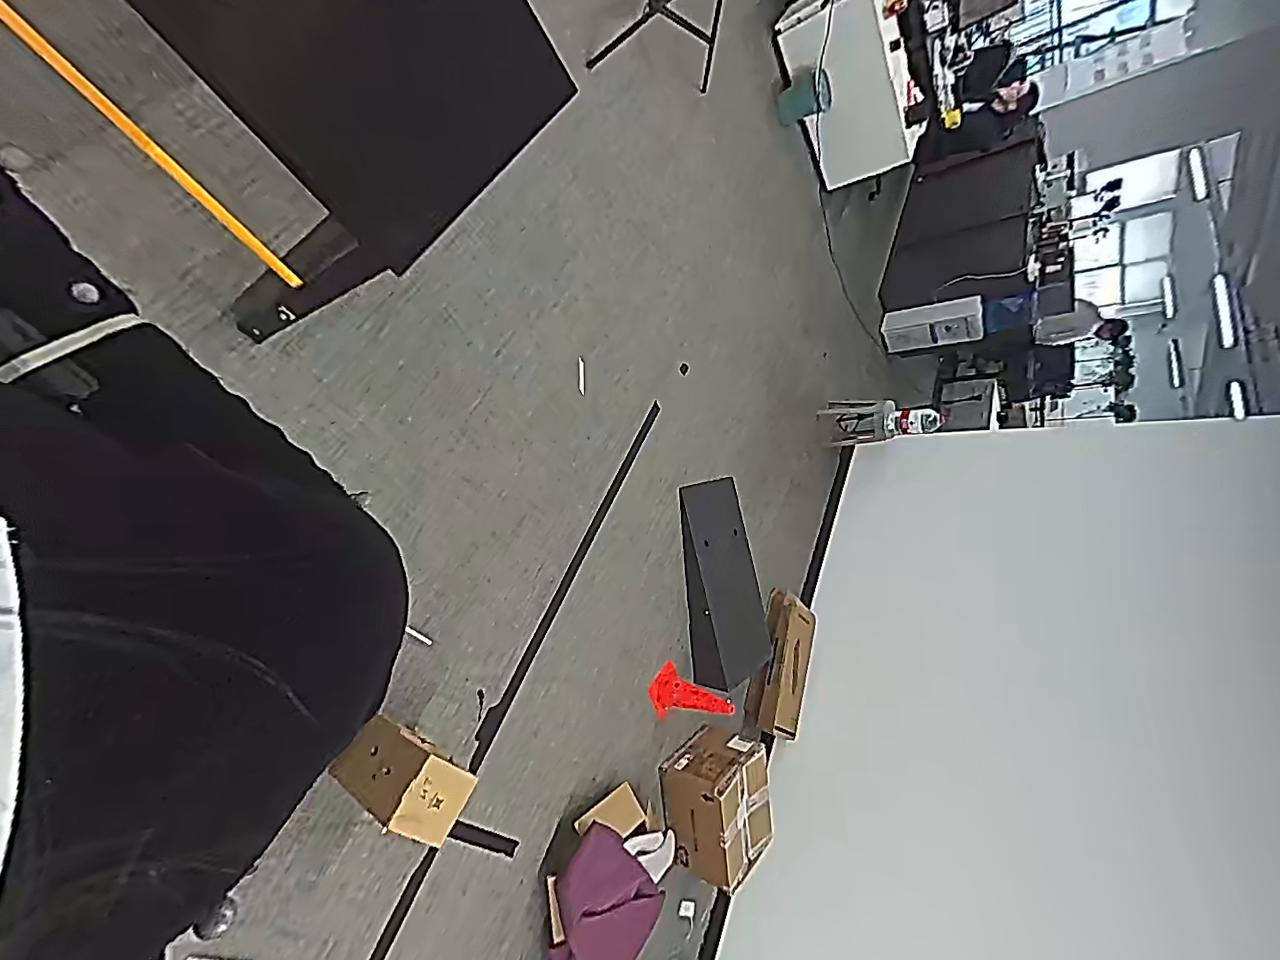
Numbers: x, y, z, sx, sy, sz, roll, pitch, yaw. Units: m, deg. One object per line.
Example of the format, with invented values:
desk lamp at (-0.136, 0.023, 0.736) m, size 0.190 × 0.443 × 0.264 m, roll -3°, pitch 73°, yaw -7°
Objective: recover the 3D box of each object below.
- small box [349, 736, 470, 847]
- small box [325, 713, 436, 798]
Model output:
small box at (-0.566, 0.758, 1.330) m, size 0.179 × 0.176 × 0.168 m, roll 54°, pitch 52°, yaw -35°
small box at (-0.692, 0.748, 1.436) m, size 0.168 × 0.176 × 0.179 m, roll 54°, pitch 52°, yaw -35°
